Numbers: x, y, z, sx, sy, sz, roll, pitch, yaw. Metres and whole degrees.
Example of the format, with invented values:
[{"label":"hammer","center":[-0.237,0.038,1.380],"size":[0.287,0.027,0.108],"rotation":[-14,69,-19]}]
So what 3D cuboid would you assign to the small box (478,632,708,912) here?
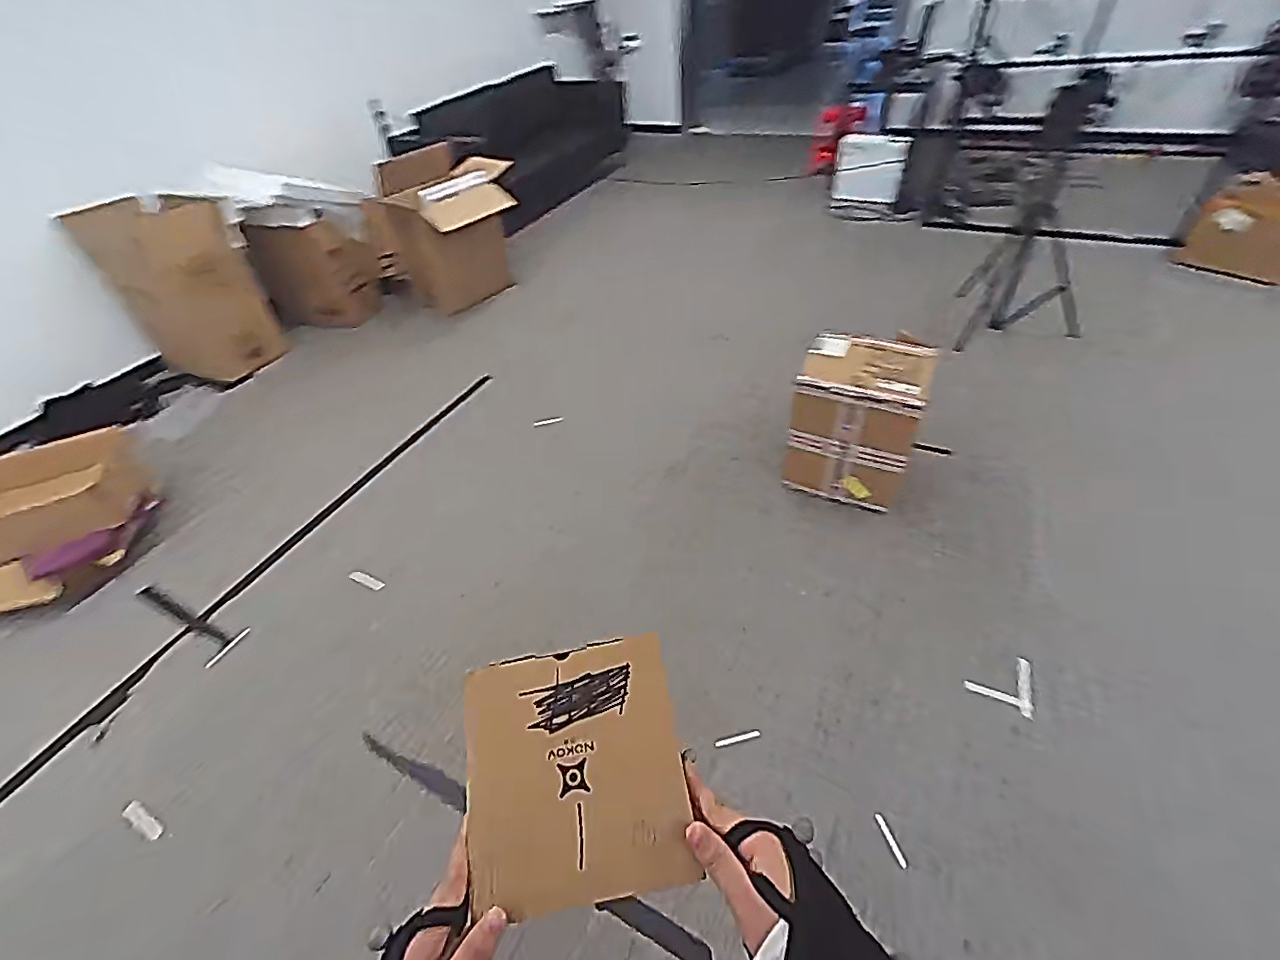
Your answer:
[{"label":"small box","center":[-0.040,0.255,0.488],"size":[0.168,0.176,0.179],"rotation":[-9,61,-2]}]
